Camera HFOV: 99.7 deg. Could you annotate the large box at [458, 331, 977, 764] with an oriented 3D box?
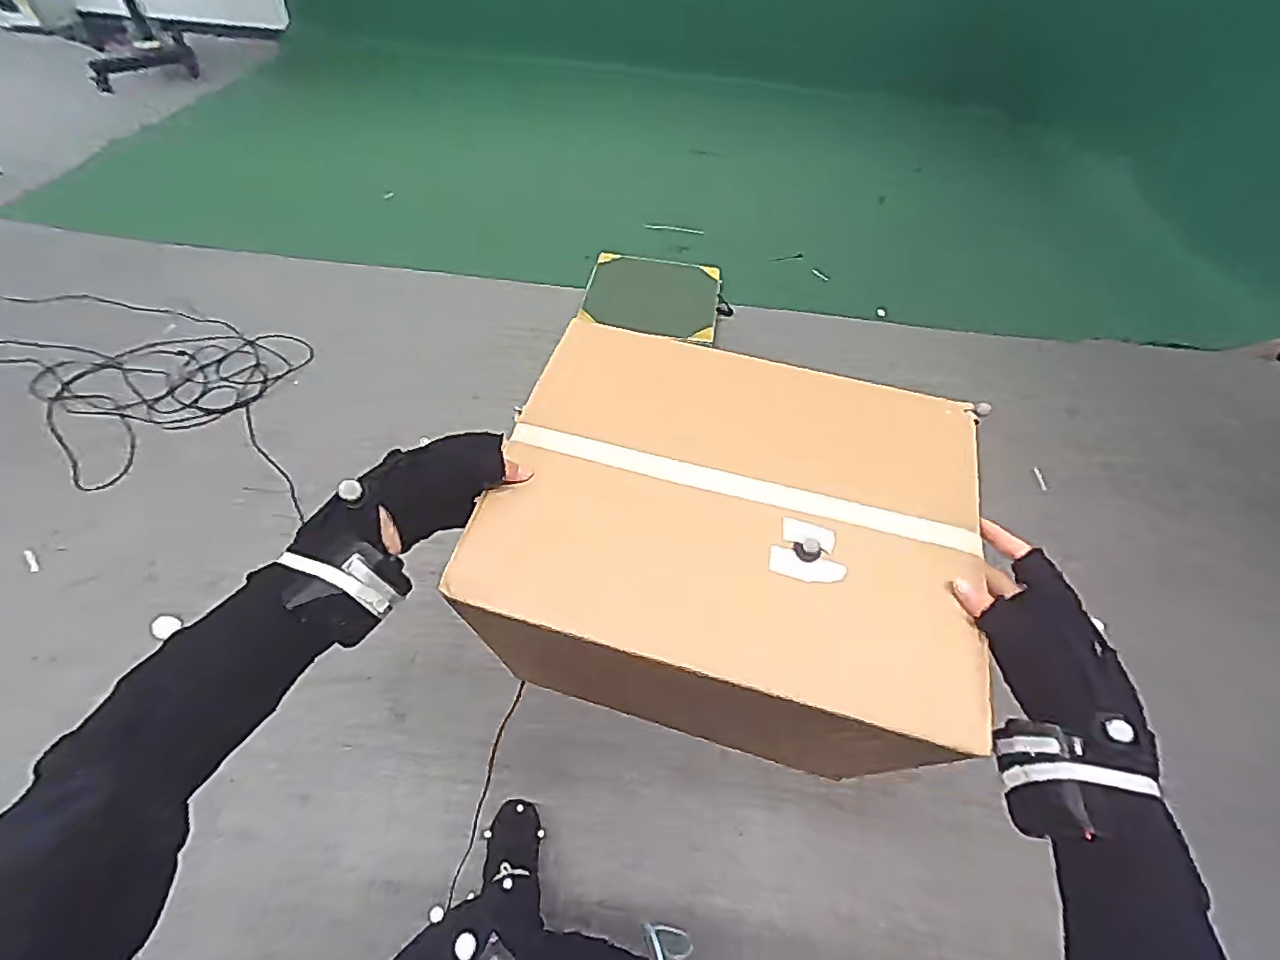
[{"bbox_3d":[0.077,0.086,0.603,0.408,0.320,0.320,14,59,7],"label":"large box"}]
